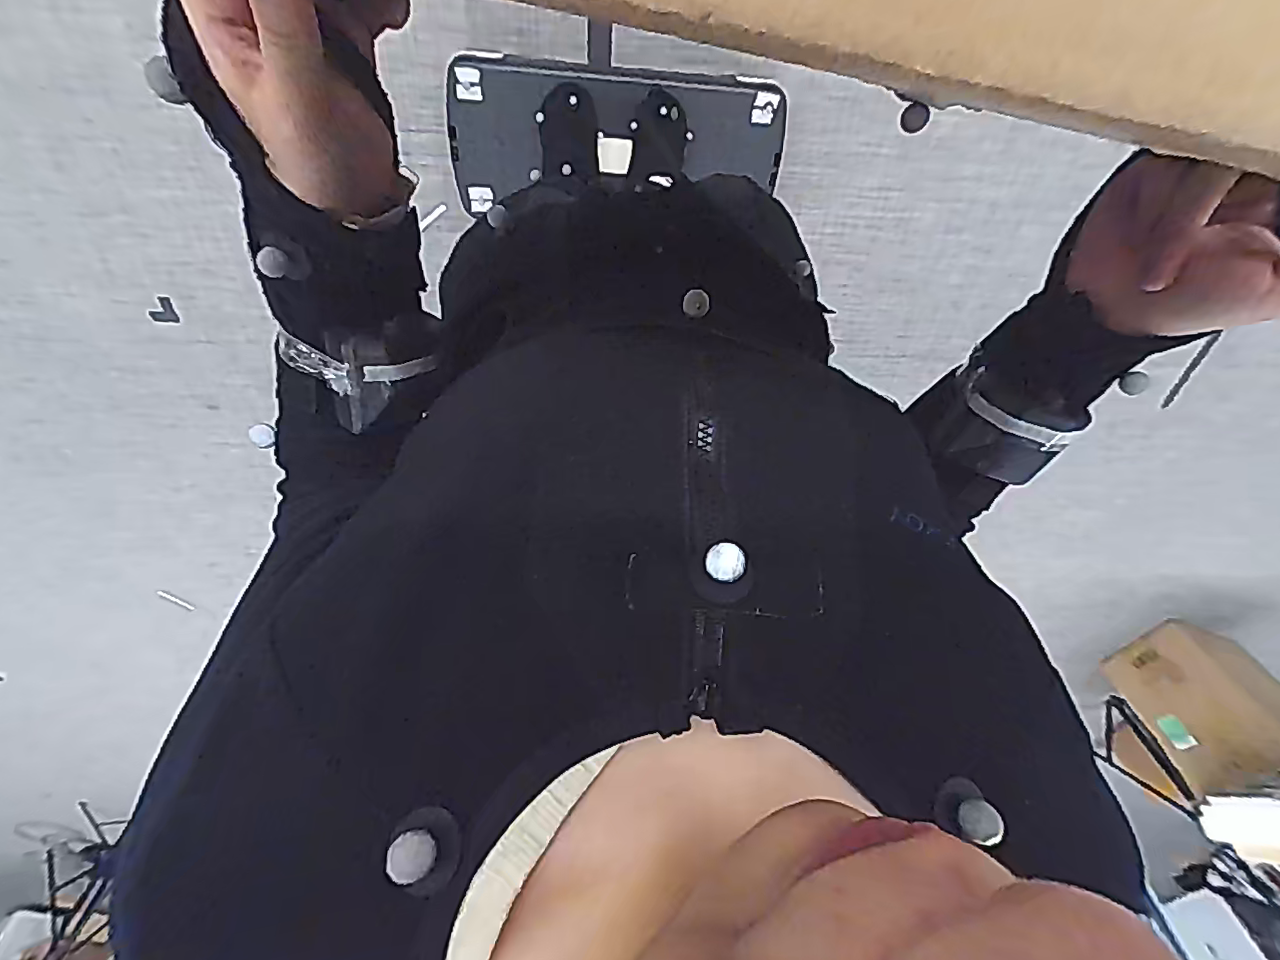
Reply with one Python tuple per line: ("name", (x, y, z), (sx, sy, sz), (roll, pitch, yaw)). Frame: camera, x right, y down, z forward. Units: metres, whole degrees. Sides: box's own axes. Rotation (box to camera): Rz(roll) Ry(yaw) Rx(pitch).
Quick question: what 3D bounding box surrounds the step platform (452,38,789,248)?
("step platform", (-0.041, -0.702, 1.153), (0.684, 0.204, 0.286), (5, 128, -9))
